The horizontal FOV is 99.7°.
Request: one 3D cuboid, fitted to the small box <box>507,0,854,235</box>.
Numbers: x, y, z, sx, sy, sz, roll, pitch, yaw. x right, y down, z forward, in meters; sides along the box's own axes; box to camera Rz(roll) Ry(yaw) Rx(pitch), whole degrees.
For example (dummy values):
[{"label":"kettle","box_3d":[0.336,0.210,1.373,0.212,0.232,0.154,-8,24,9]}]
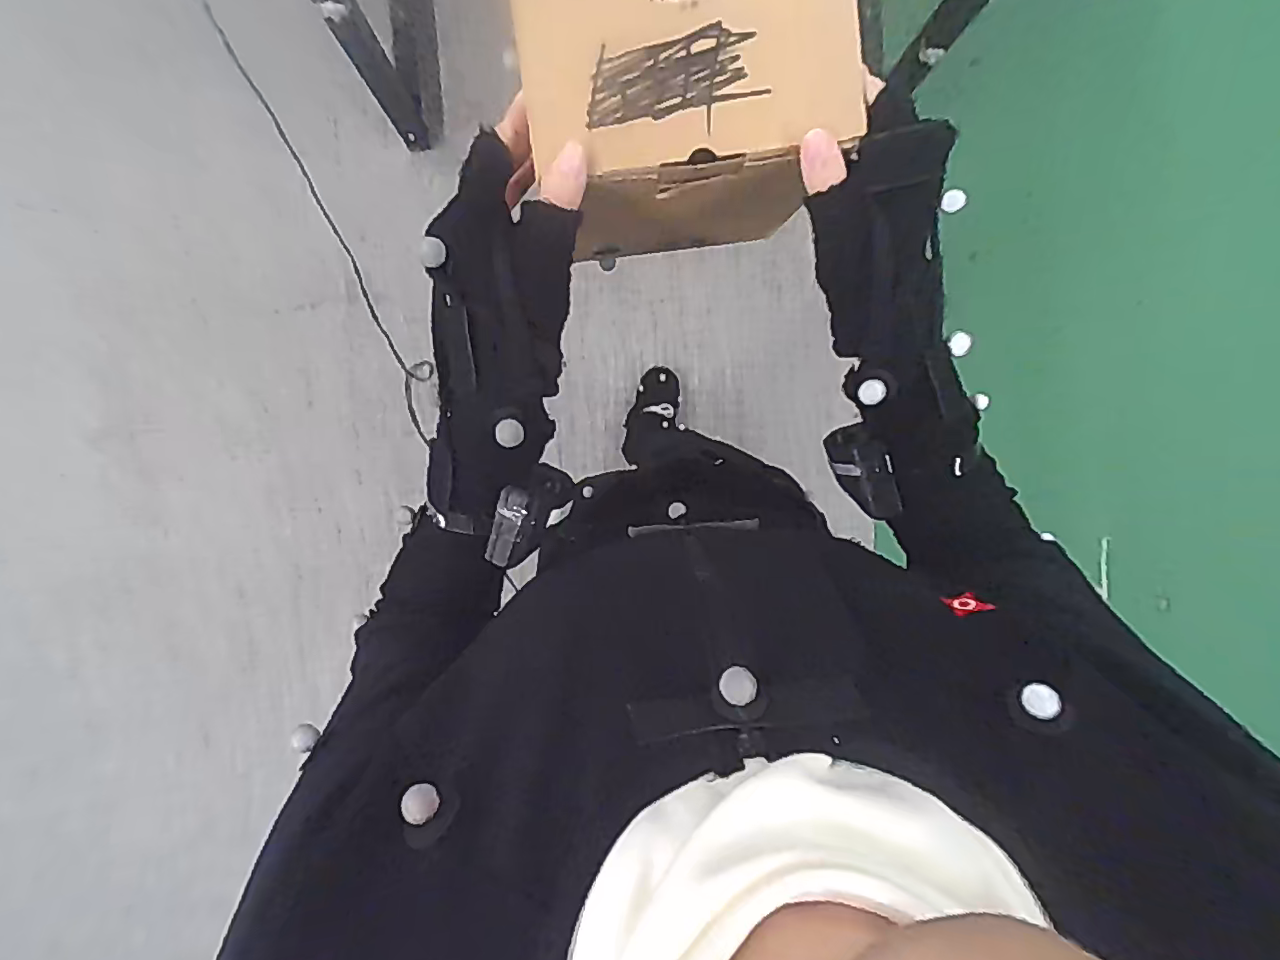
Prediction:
[{"label":"small box","box_3d":[0.014,-0.266,0.333,0.168,0.176,0.179,-8,98,-2]}]
